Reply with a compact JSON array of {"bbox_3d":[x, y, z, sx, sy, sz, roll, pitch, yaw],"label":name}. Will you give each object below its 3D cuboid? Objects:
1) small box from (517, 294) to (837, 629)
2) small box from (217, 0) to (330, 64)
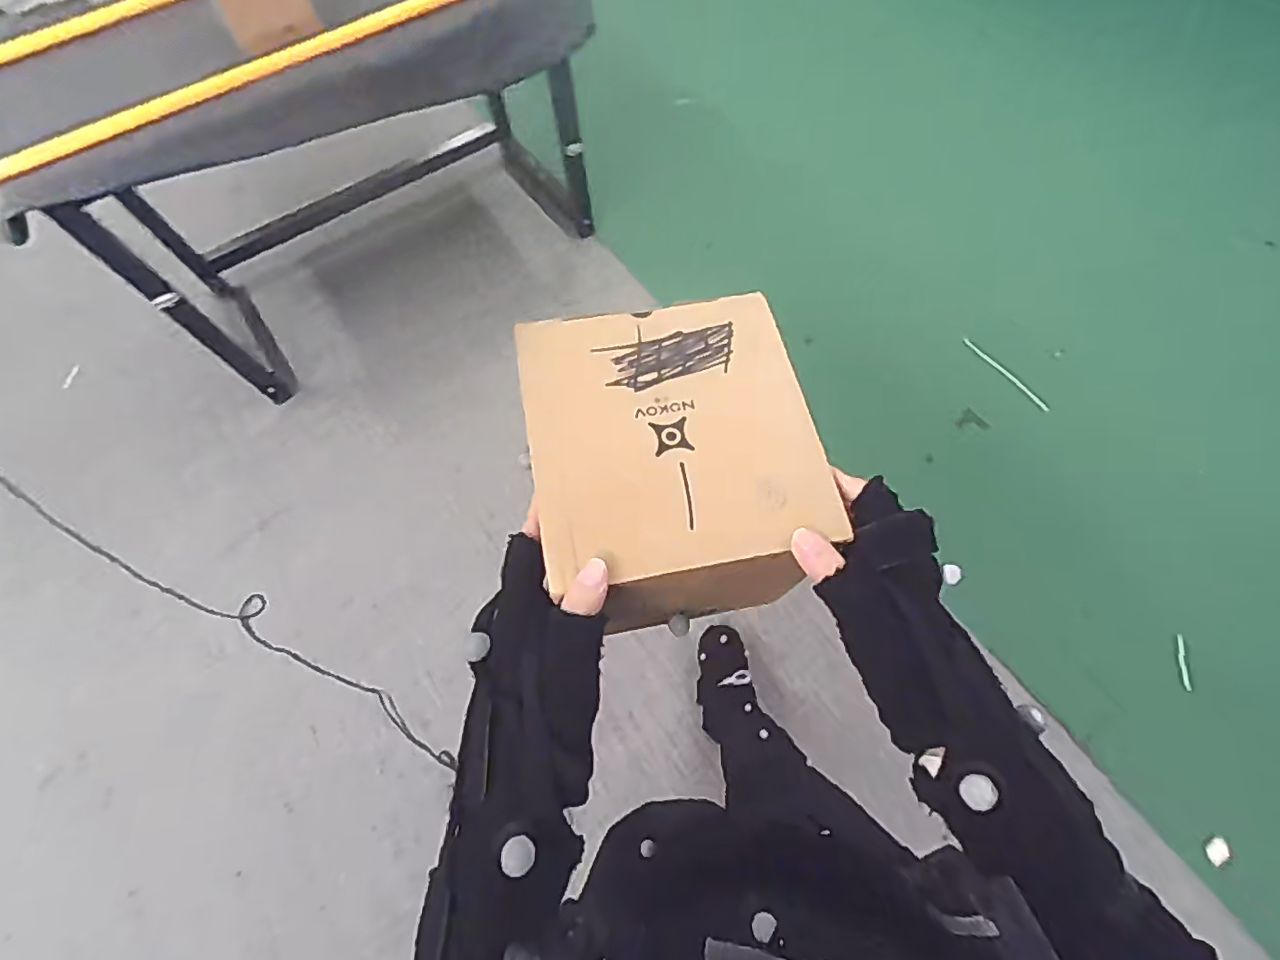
[{"bbox_3d":[0.012,-0.003,0.397,0.168,0.176,0.179,-10,67,-6],"label":"small box"},{"bbox_3d":[-0.794,-1.018,1.129,0.168,0.176,0.179,-33,67,-11],"label":"small box"}]
